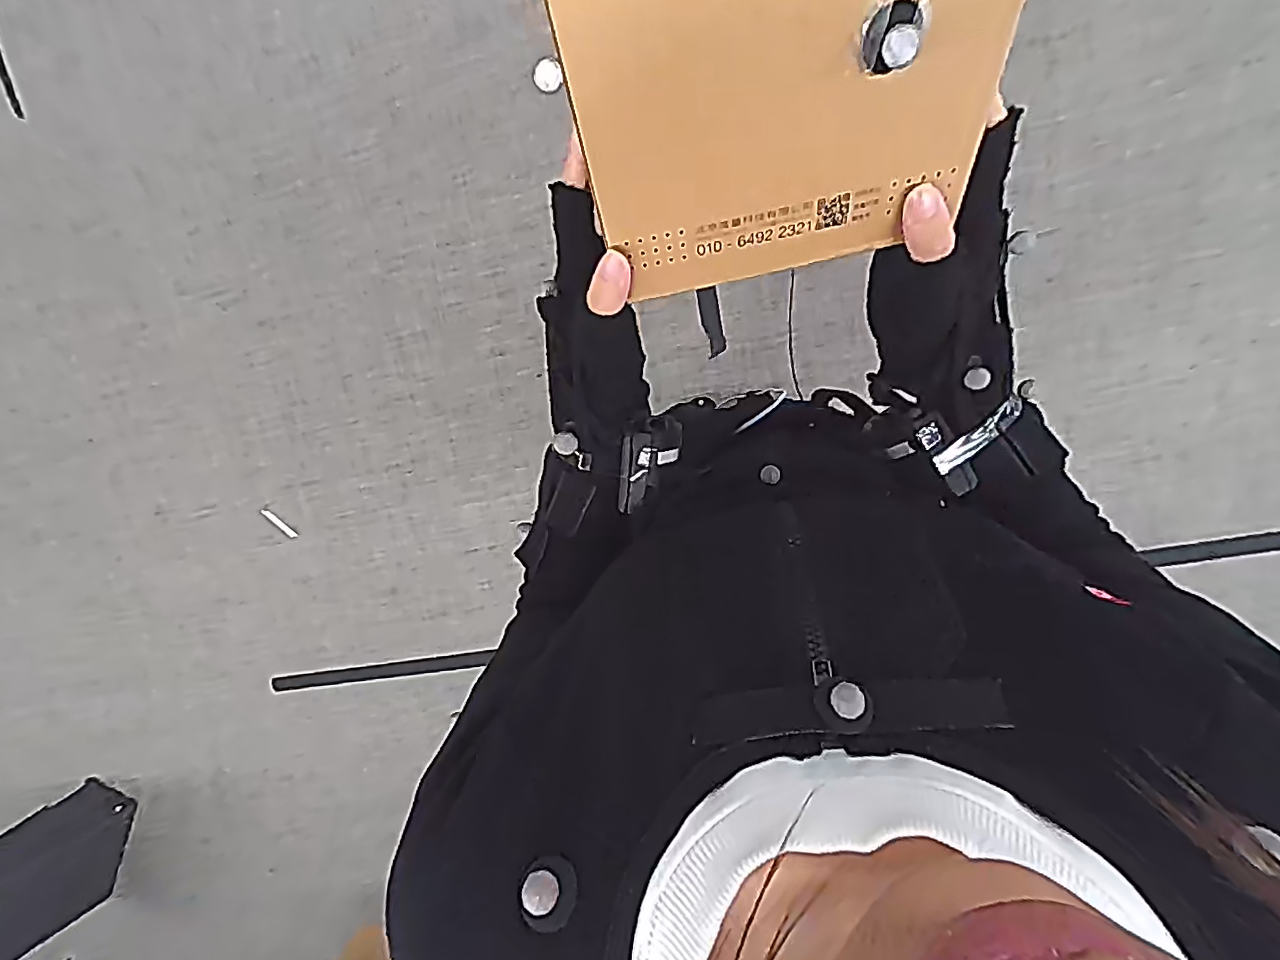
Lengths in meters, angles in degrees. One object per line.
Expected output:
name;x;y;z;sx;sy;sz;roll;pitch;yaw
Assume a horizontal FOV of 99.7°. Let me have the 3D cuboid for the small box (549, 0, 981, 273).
small box;0.051;-0.225;0.270;0.168;0.176;0.179;-10;54;5
